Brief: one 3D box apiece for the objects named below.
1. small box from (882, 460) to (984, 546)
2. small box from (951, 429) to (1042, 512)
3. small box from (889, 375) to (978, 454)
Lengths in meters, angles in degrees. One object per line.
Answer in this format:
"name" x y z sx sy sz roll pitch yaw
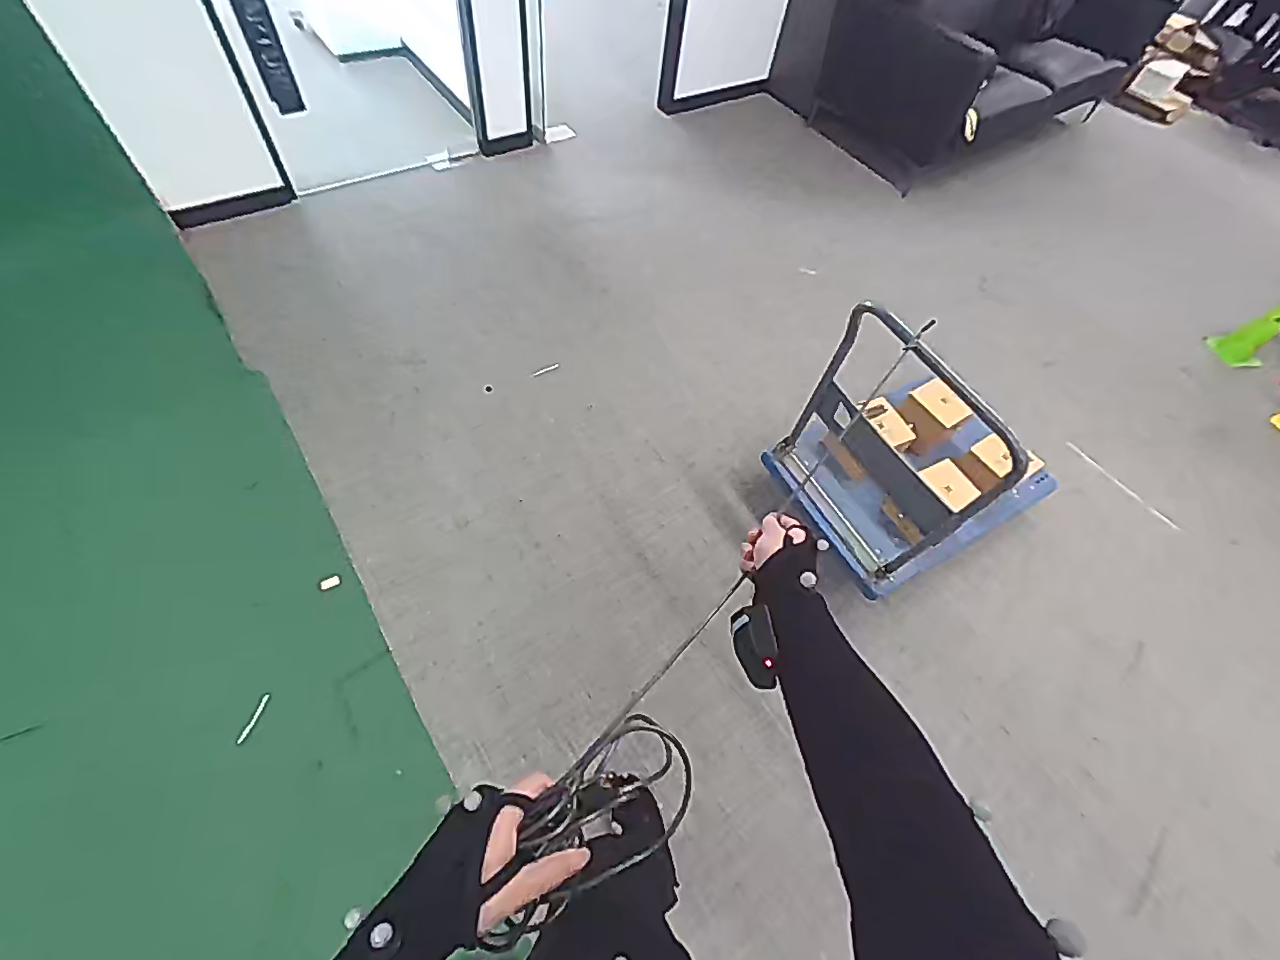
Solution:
"small box" 0.874 0.072 1.633 0.179 0.176 0.168 -22 64 -18
"small box" 1.110 -0.027 1.721 0.179 0.176 0.168 -27 64 -20
"small box" 0.974 -0.214 1.819 0.179 0.176 0.168 -26 66 -21
